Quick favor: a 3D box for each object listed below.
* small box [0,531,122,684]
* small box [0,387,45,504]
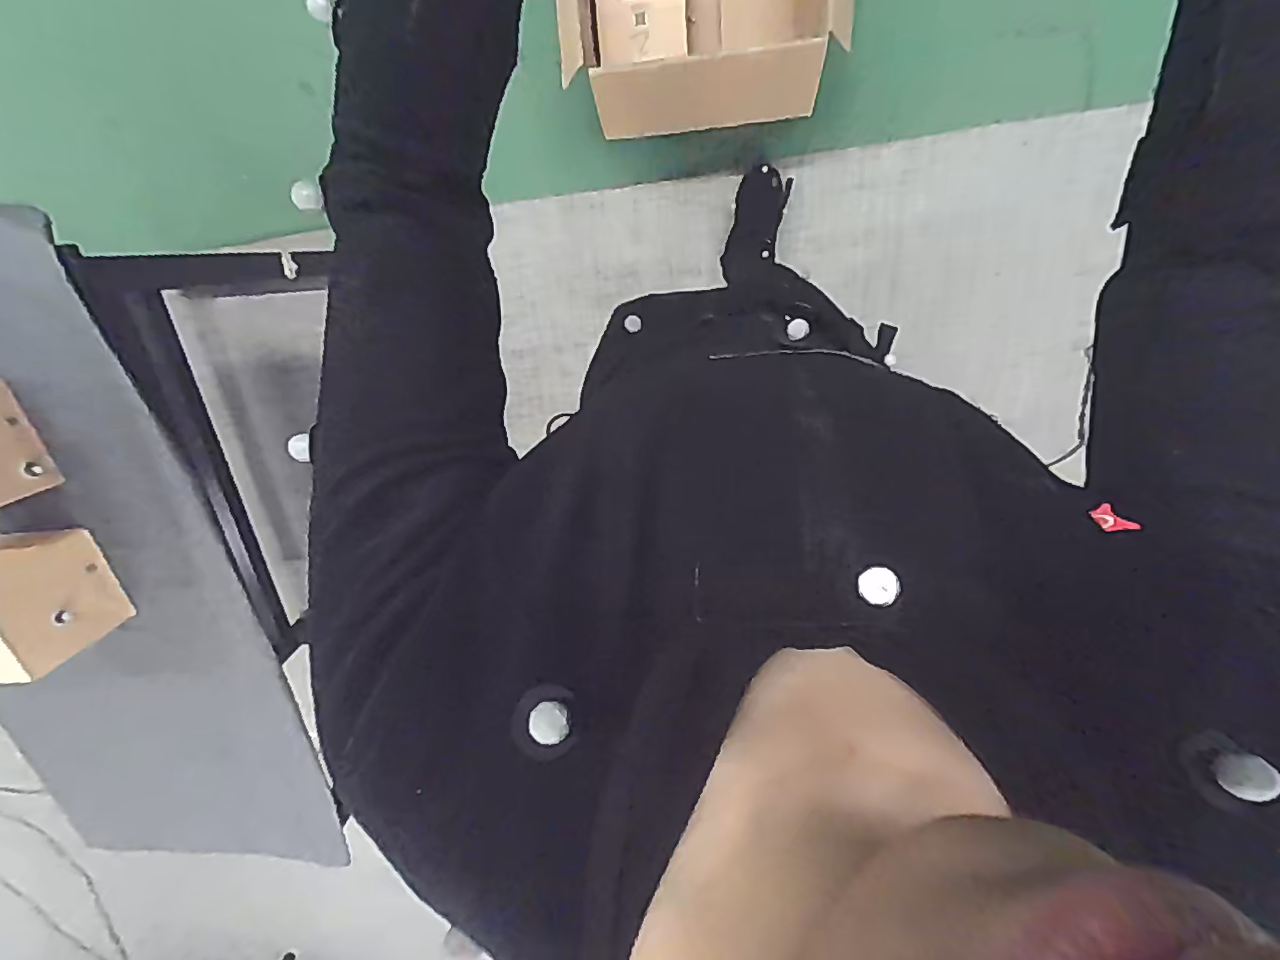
[{"bbox_3d":[-0.952,0.187,0.819,0.179,0.176,0.168,-5,113,8],"label":"small box"},{"bbox_3d":[-0.975,-0.032,0.723,0.179,0.176,0.168,-5,113,9],"label":"small box"}]
